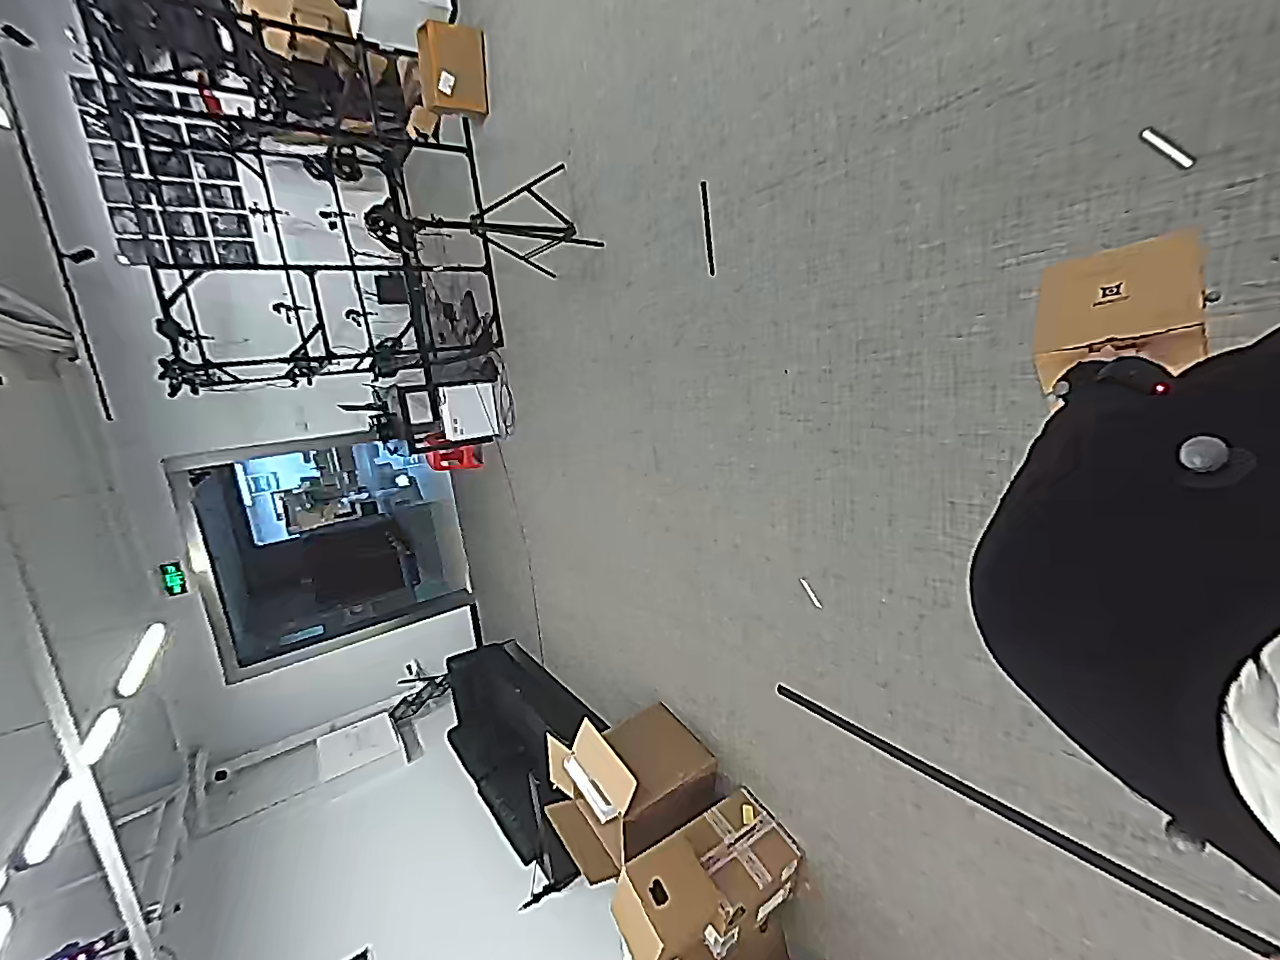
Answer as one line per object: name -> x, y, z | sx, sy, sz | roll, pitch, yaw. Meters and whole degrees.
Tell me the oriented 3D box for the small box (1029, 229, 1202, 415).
small box -> 0.673, -0.206, 0.765 | 0.168, 0.176, 0.179 | -3, 56, 45
